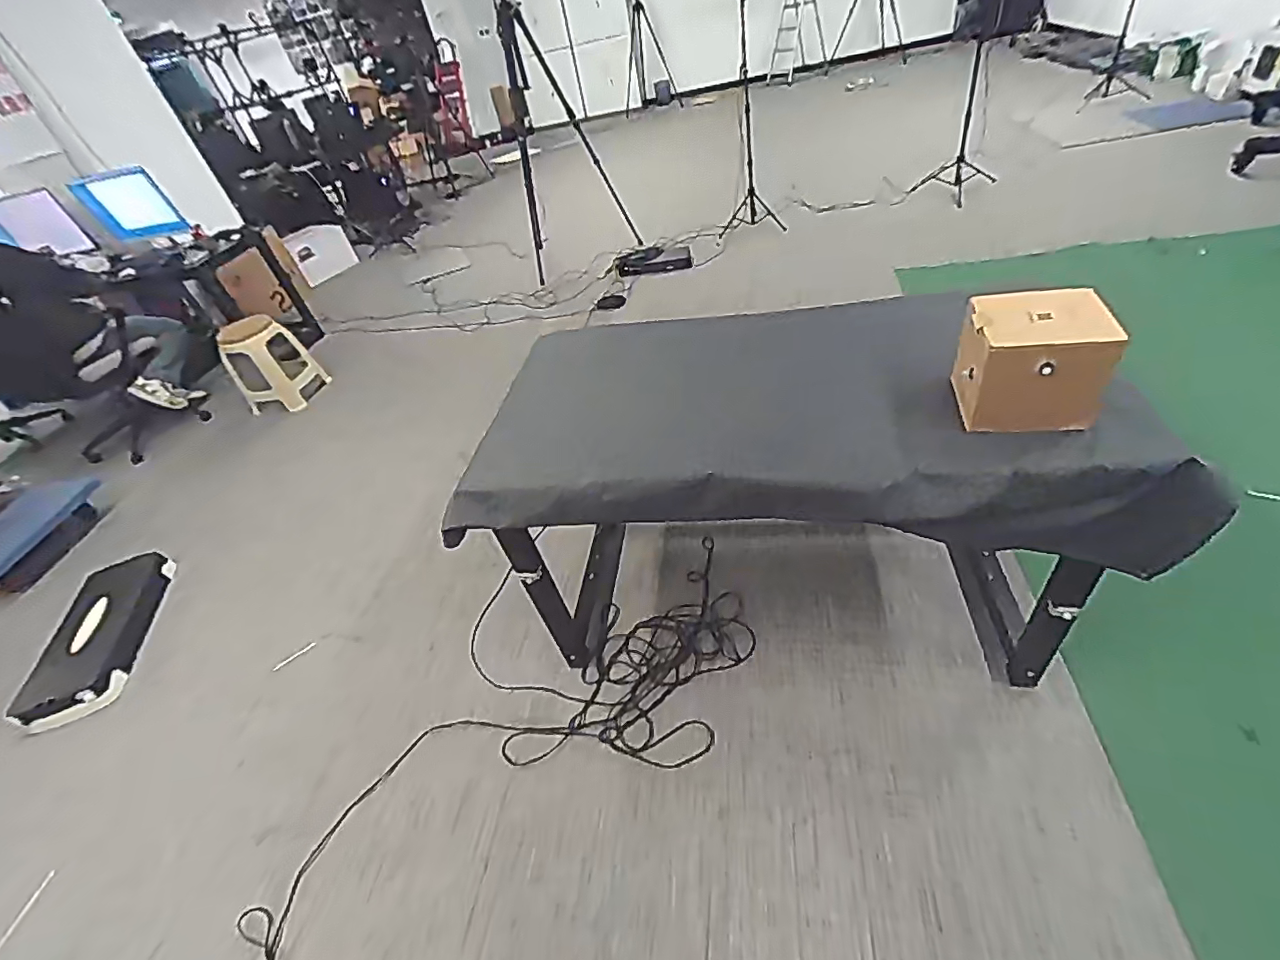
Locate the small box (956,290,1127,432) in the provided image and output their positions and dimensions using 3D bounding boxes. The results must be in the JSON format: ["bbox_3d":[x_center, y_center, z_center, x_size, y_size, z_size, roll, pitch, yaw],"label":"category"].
[{"bbox_3d":[0.636,-0.192,0.890,0.179,0.176,0.168,2,45,17],"label":"small box"}]
